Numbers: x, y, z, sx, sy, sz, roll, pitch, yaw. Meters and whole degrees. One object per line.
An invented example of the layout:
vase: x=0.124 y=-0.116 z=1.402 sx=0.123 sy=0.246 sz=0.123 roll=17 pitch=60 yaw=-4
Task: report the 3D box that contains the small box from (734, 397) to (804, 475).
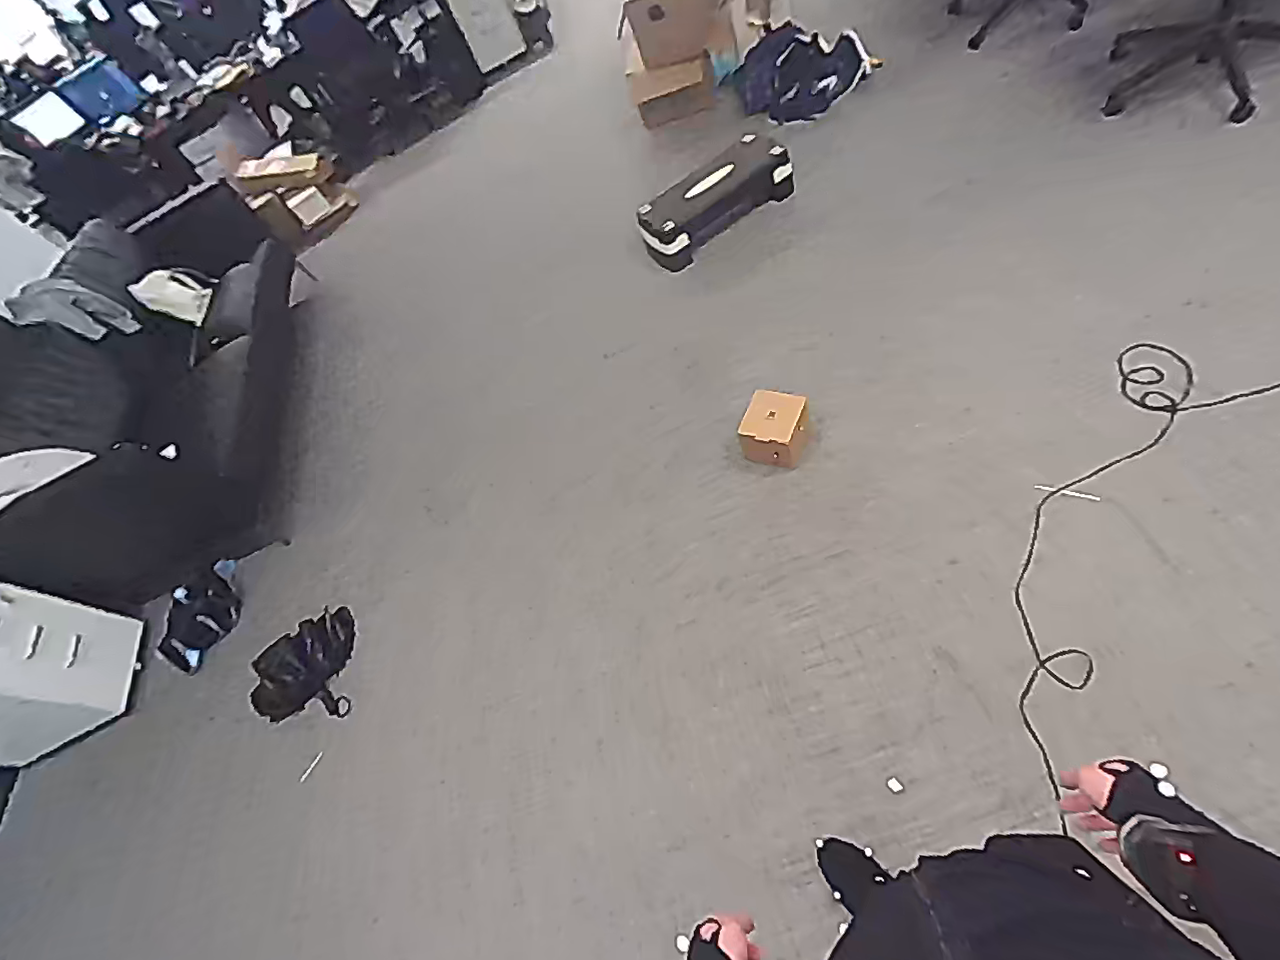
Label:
small box: x=0.423 y=-0.139 z=1.739 sx=0.168 sy=0.176 sz=0.179 roll=15 pitch=65 yaw=28
